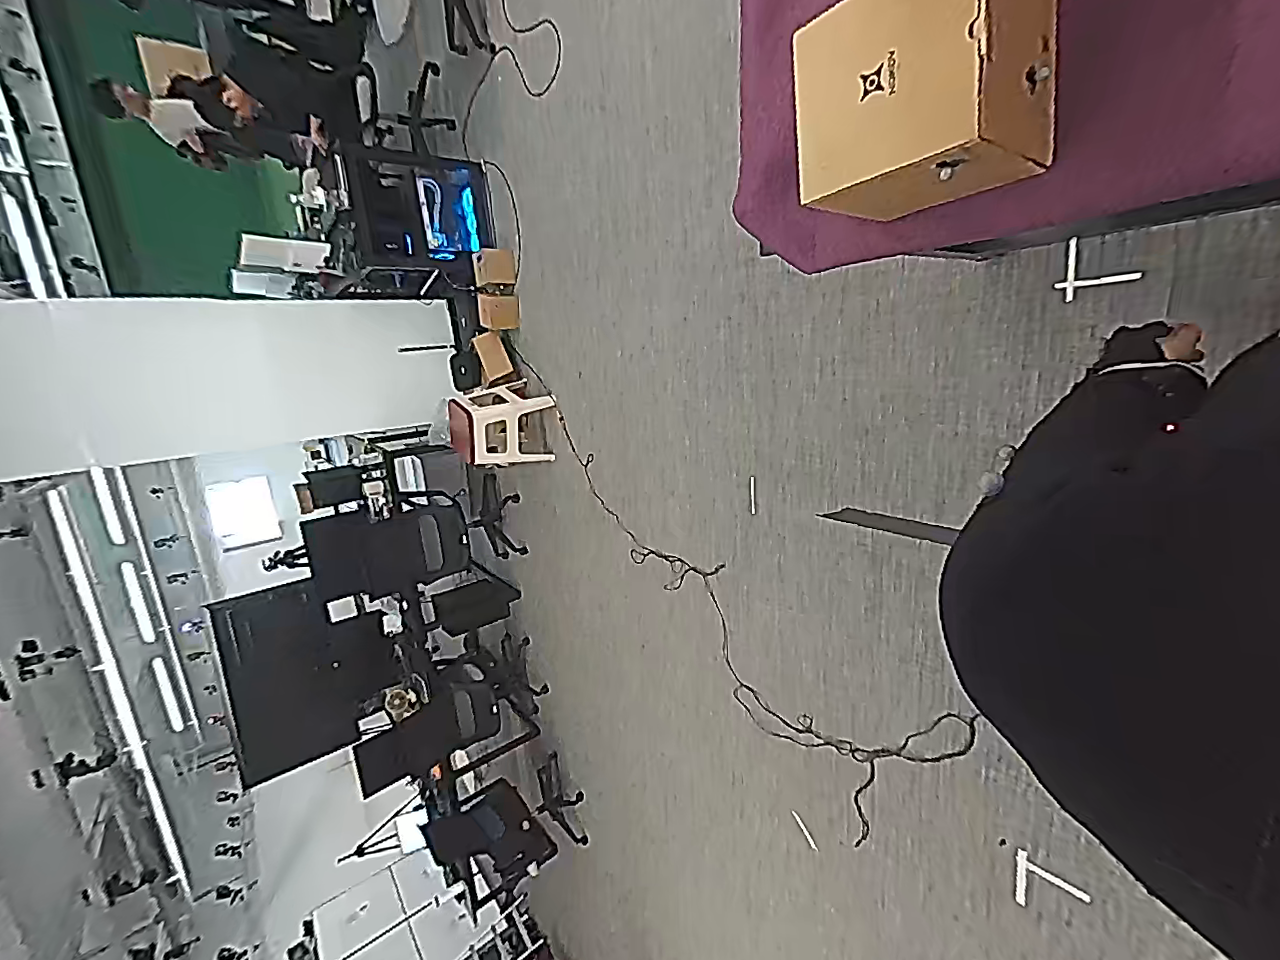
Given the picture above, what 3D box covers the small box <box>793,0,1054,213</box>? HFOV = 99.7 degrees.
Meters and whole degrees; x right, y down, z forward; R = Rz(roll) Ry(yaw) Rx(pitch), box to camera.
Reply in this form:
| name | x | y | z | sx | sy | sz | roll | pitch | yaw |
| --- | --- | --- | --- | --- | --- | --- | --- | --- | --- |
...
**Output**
| name | x | y | z | sx | sy | sz | roll | pitch | yaw |
| --- | --- | --- | --- | --- | --- | --- | --- | --- | --- |
| small box | 0.278 | -0.383 | 0.540 | 0.179 | 0.176 | 0.168 | 6 | 106 | 52 |
